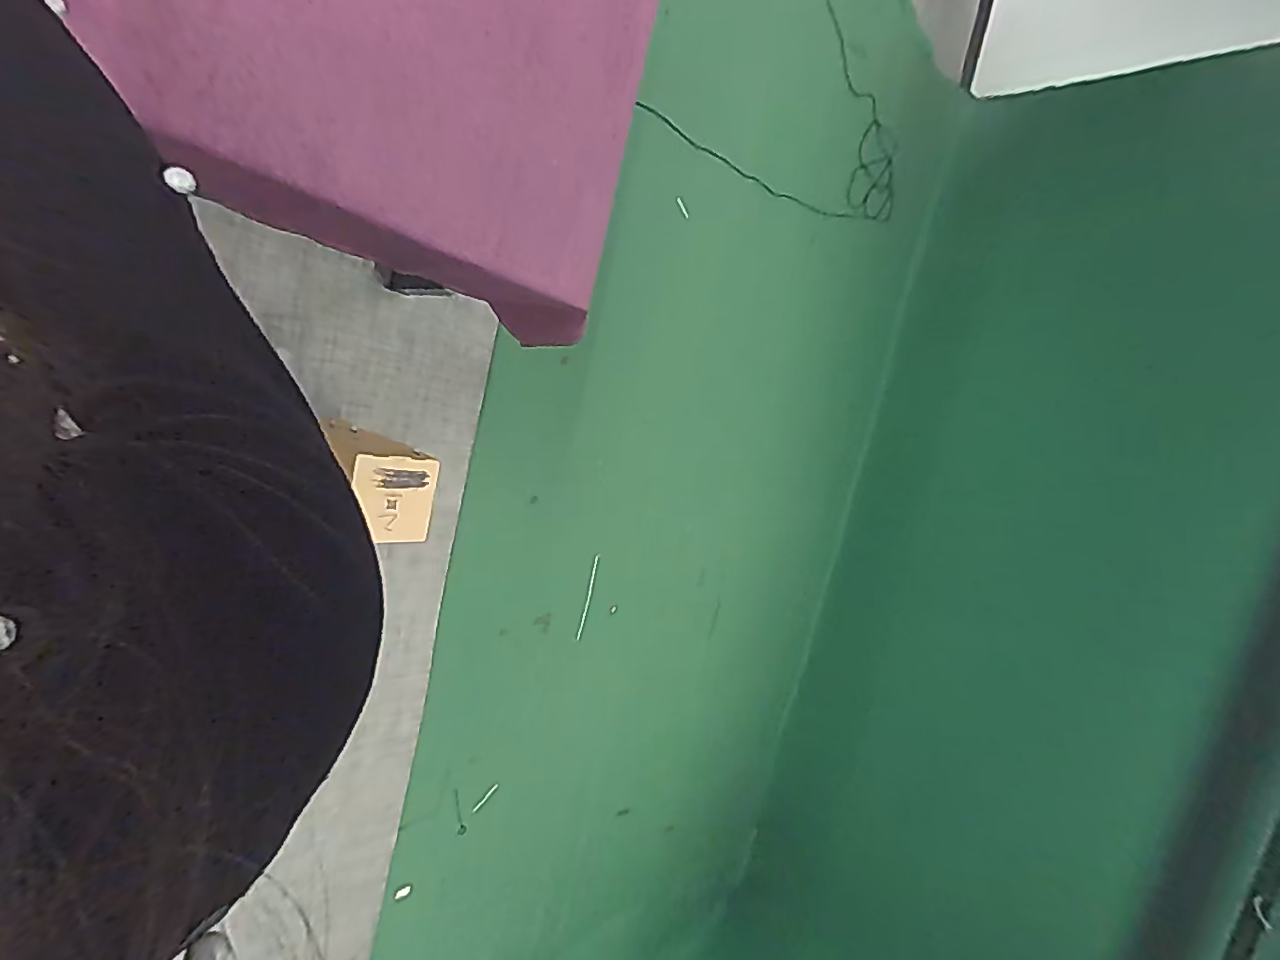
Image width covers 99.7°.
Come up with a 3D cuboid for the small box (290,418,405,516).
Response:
[{"bbox_3d":[-0.657,-0.029,1.206,0.168,0.176,0.179,7,99,-50],"label":"small box"}]
